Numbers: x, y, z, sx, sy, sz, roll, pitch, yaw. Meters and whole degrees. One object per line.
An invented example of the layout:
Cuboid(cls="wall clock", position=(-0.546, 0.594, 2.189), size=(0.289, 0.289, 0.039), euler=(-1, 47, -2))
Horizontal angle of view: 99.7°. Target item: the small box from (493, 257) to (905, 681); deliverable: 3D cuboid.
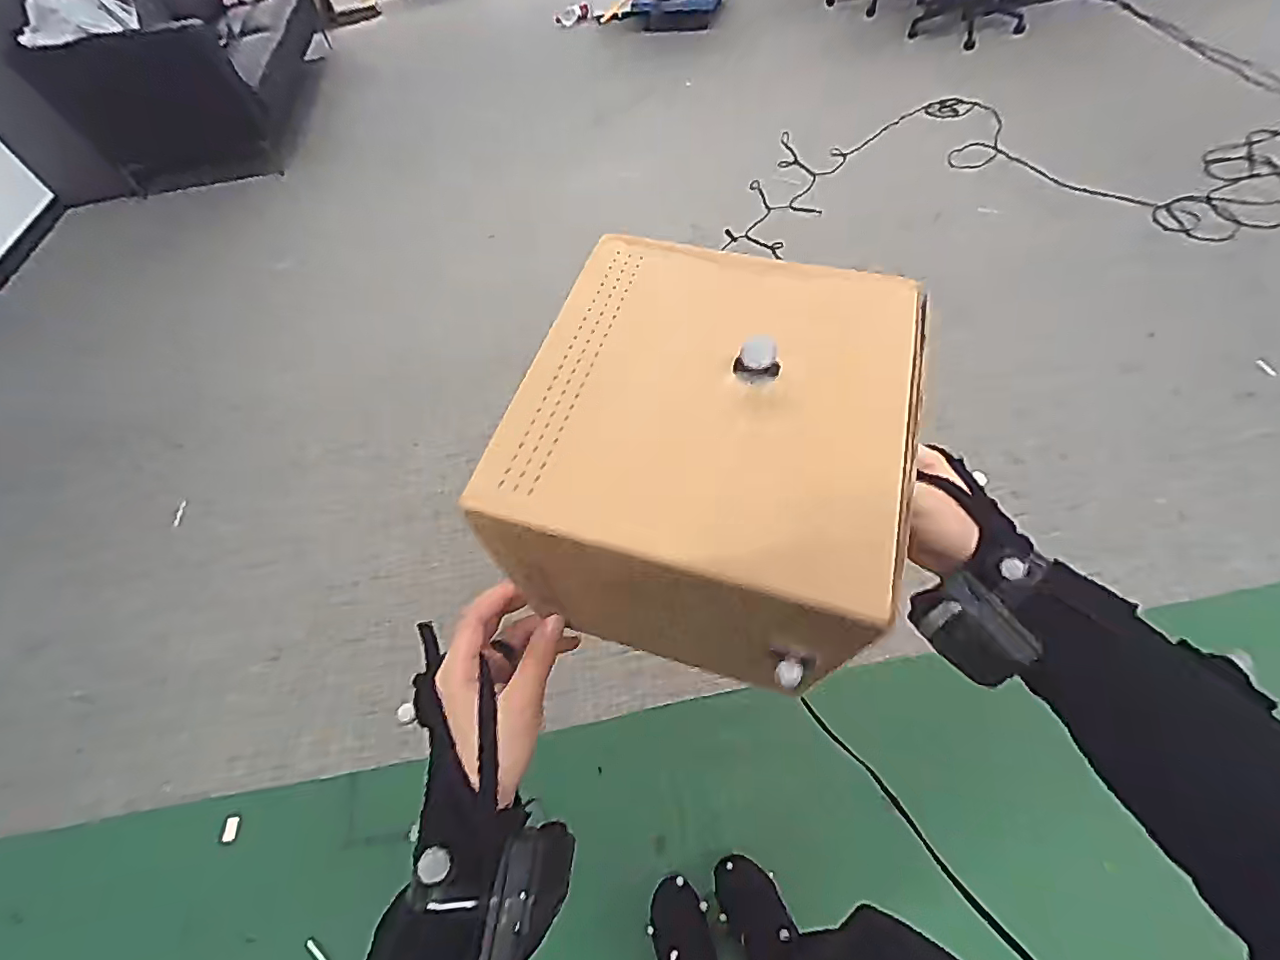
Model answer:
Cuboid(cls="small box", position=(0.036, -0.006, 0.319), size=(0.176, 0.168, 0.179), euler=(13, 61, 10))
